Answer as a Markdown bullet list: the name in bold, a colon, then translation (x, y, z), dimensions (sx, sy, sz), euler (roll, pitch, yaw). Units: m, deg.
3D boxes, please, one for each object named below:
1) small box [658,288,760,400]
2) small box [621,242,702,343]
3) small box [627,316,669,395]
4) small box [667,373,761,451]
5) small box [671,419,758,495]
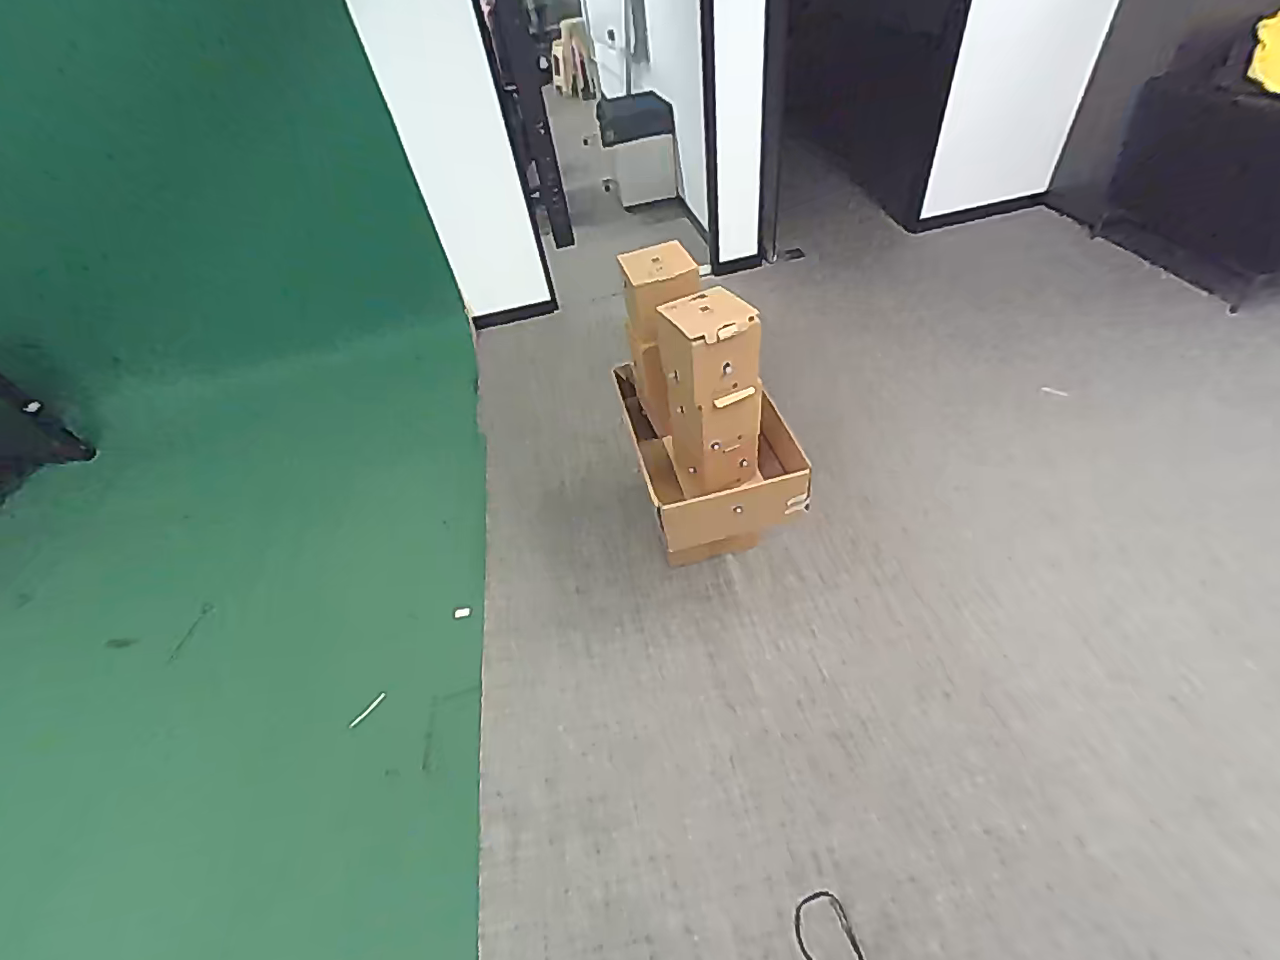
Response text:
- **small box**: translation (0.154, -0.298, 1.216), dimensions (0.168, 0.176, 0.179), euler (-21, 48, -12)
- **small box**: translation (0.058, -0.485, 1.402), dimensions (0.168, 0.176, 0.179), euler (-17, 48, -4)
- **small box**: translation (0.076, -0.366, 1.516), dimensions (0.179, 0.176, 0.168), euler (-18, 48, -5)
- **small box**: translation (0.184, -0.192, 1.338), dimensions (0.168, 0.176, 0.179), euler (-23, 47, -13)
- **small box**: translation (0.202, -0.083, 1.459), dimensions (0.168, 0.176, 0.179), euler (-23, 47, -12)
